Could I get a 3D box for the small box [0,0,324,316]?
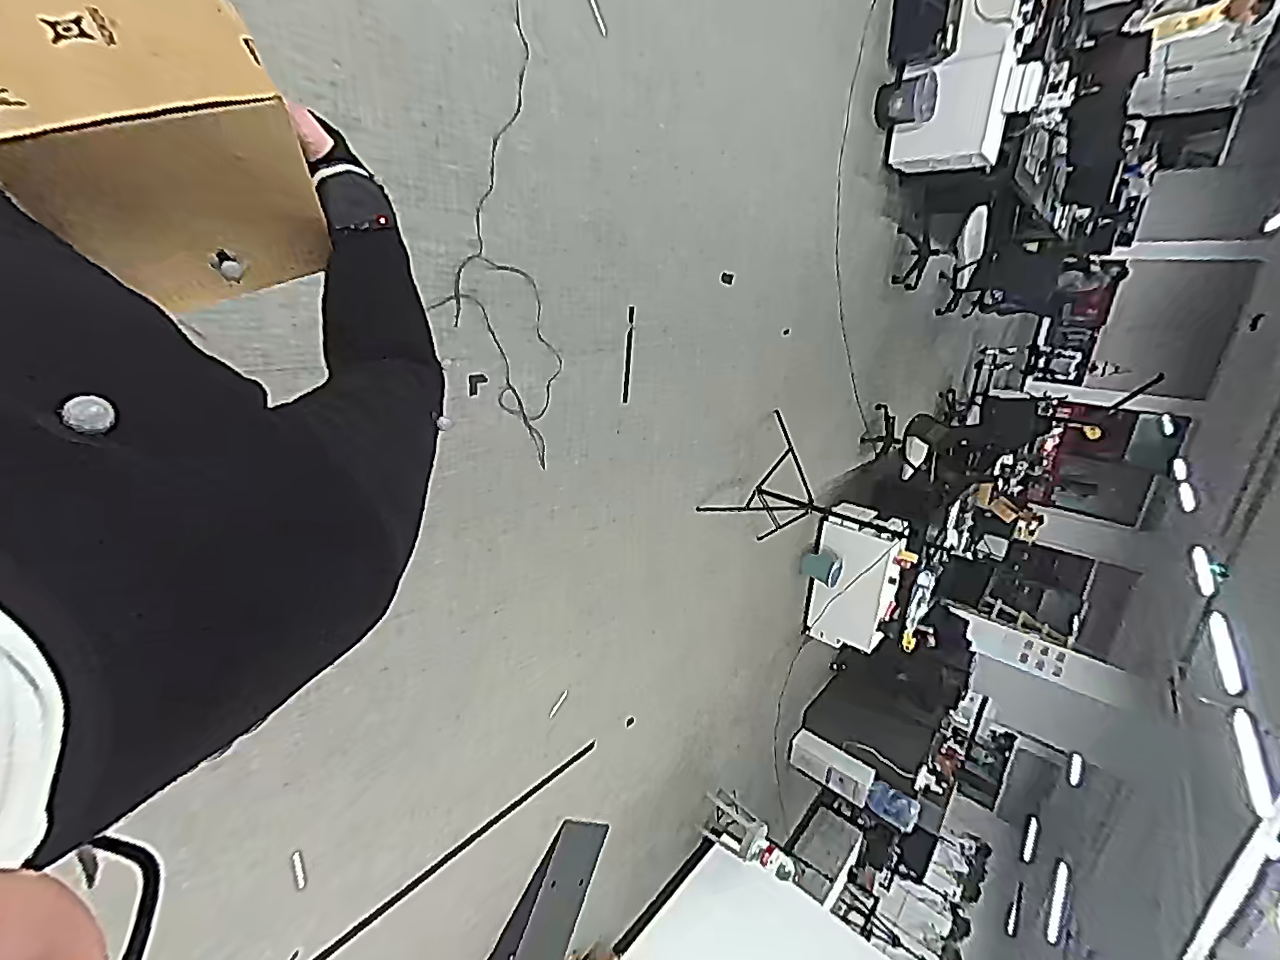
[{"bbox_3d":[-0.390,-0.270,0.446,0.179,0.168,0.176,-30,169,-24],"label":"small box"}]
